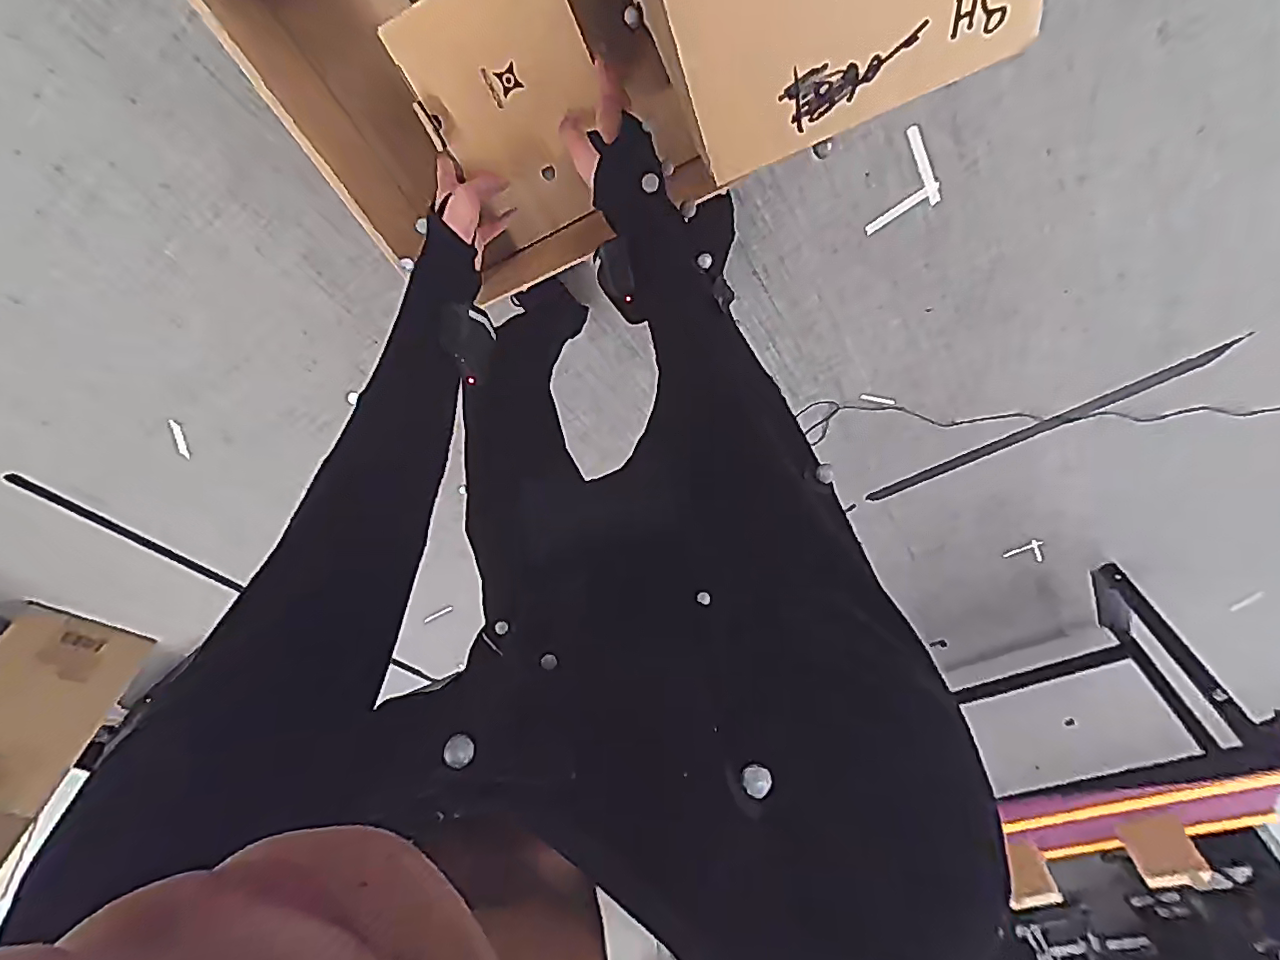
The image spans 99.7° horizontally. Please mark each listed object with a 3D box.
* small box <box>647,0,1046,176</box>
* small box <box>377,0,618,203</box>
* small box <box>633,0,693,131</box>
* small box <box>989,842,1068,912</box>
[{"bbox_3d":[0.079,-0.297,0.279,0.168,0.176,0.179,-17,130,15],"label":"small box"},{"bbox_3d":[-0.135,-0.438,0.582,0.179,0.176,0.168,-19,130,16],"label":"small box"},{"bbox_3d":[0.076,-0.404,0.404,0.179,0.176,0.168,-23,129,18],"label":"small box"},{"bbox_3d":[1.419,1.462,1.990,0.179,0.176,0.168,-31,126,22],"label":"small box"}]
